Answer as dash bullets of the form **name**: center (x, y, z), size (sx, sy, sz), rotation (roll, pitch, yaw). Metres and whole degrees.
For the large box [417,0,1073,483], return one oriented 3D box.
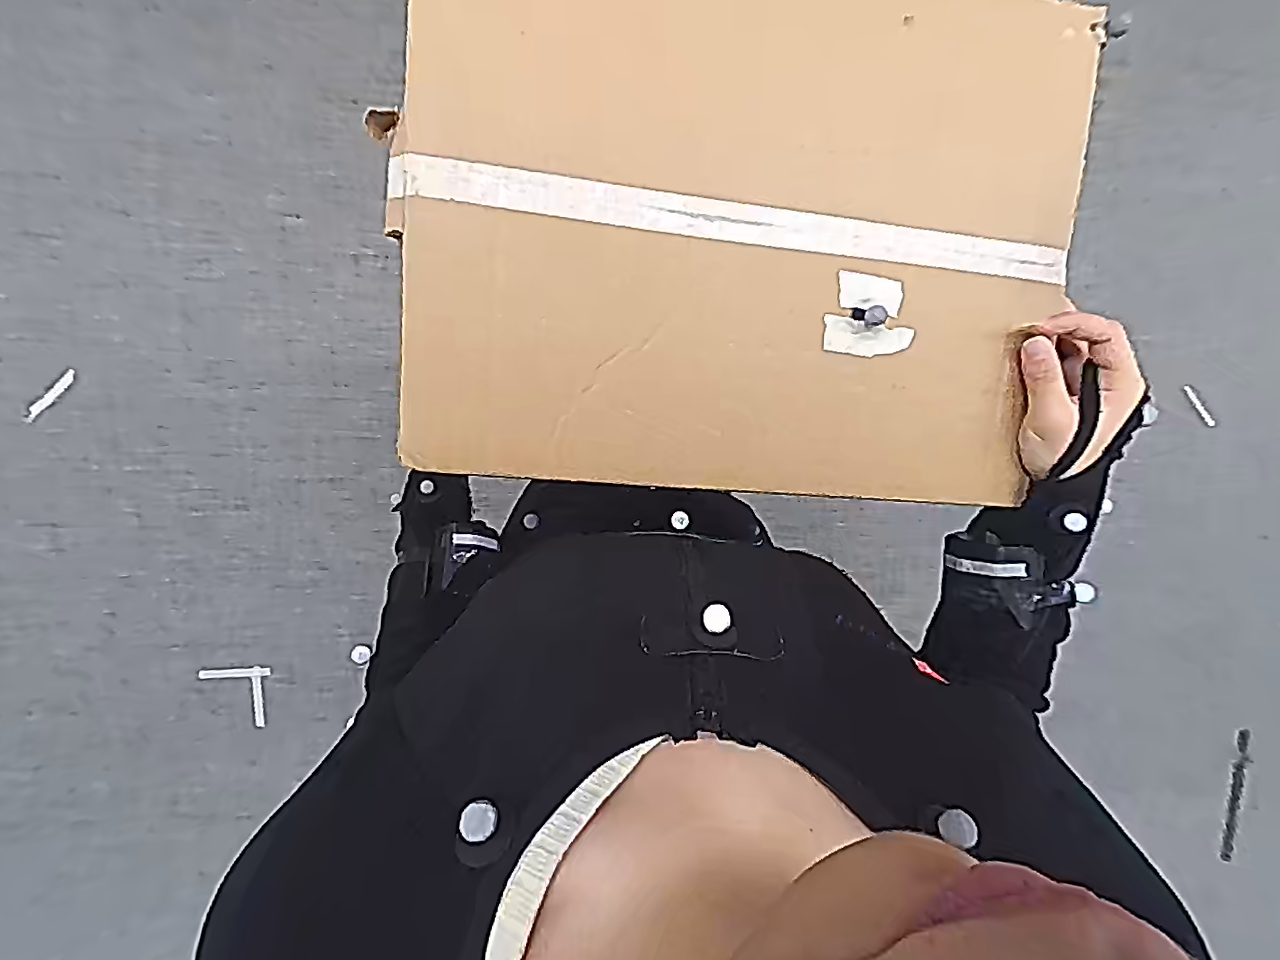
- **large box**: center (0.047, -0.175, 0.471), size (0.408, 0.320, 0.320), rotation (3, 98, -11)
